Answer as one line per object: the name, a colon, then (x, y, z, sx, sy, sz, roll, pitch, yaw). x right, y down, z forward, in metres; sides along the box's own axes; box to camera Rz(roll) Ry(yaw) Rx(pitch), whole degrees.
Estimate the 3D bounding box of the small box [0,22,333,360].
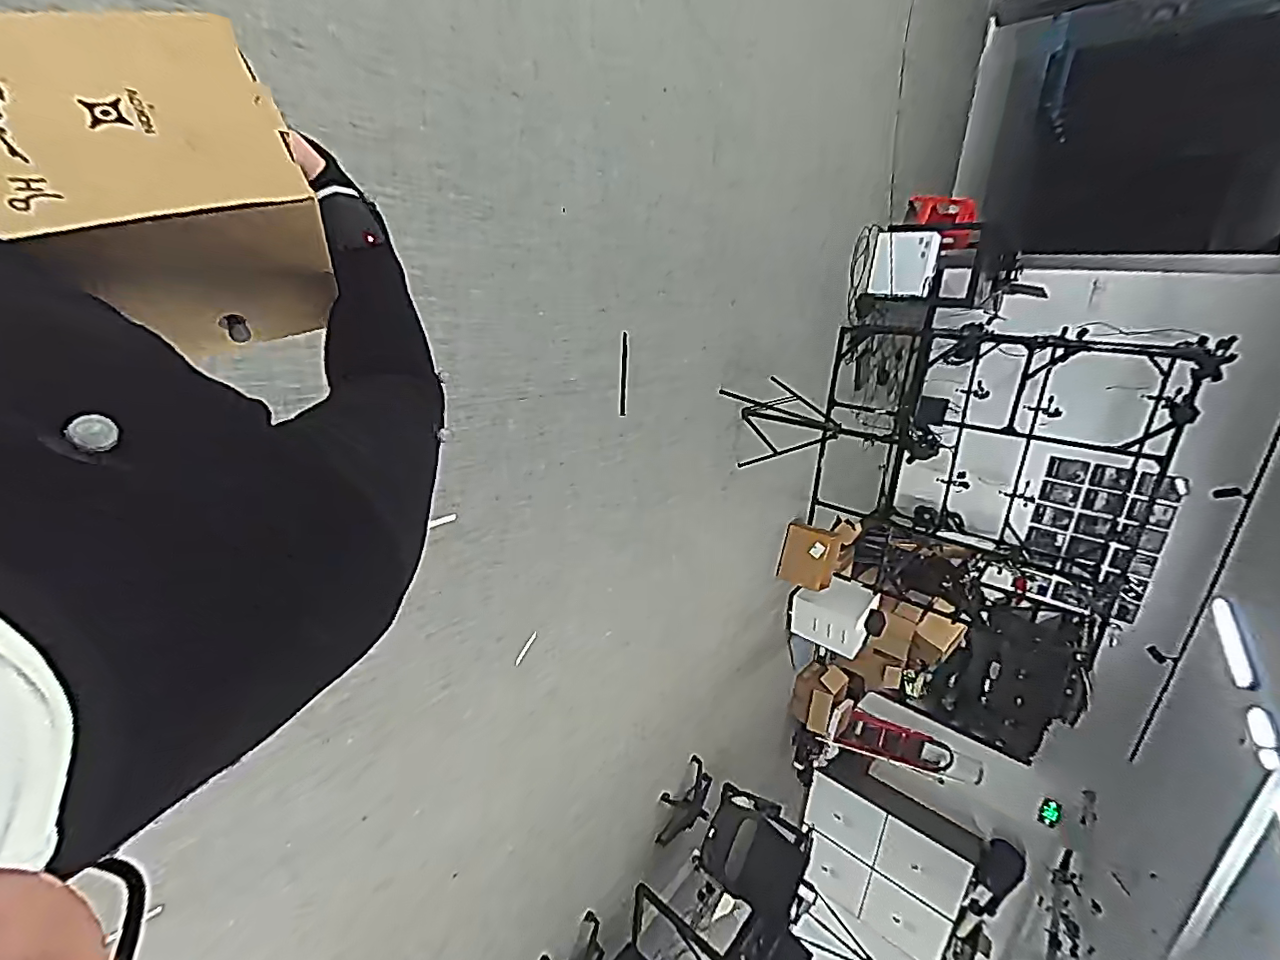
small box: (-0.376, -0.225, 0.446, 0.179, 0.176, 0.168, -25, 83, -28)
